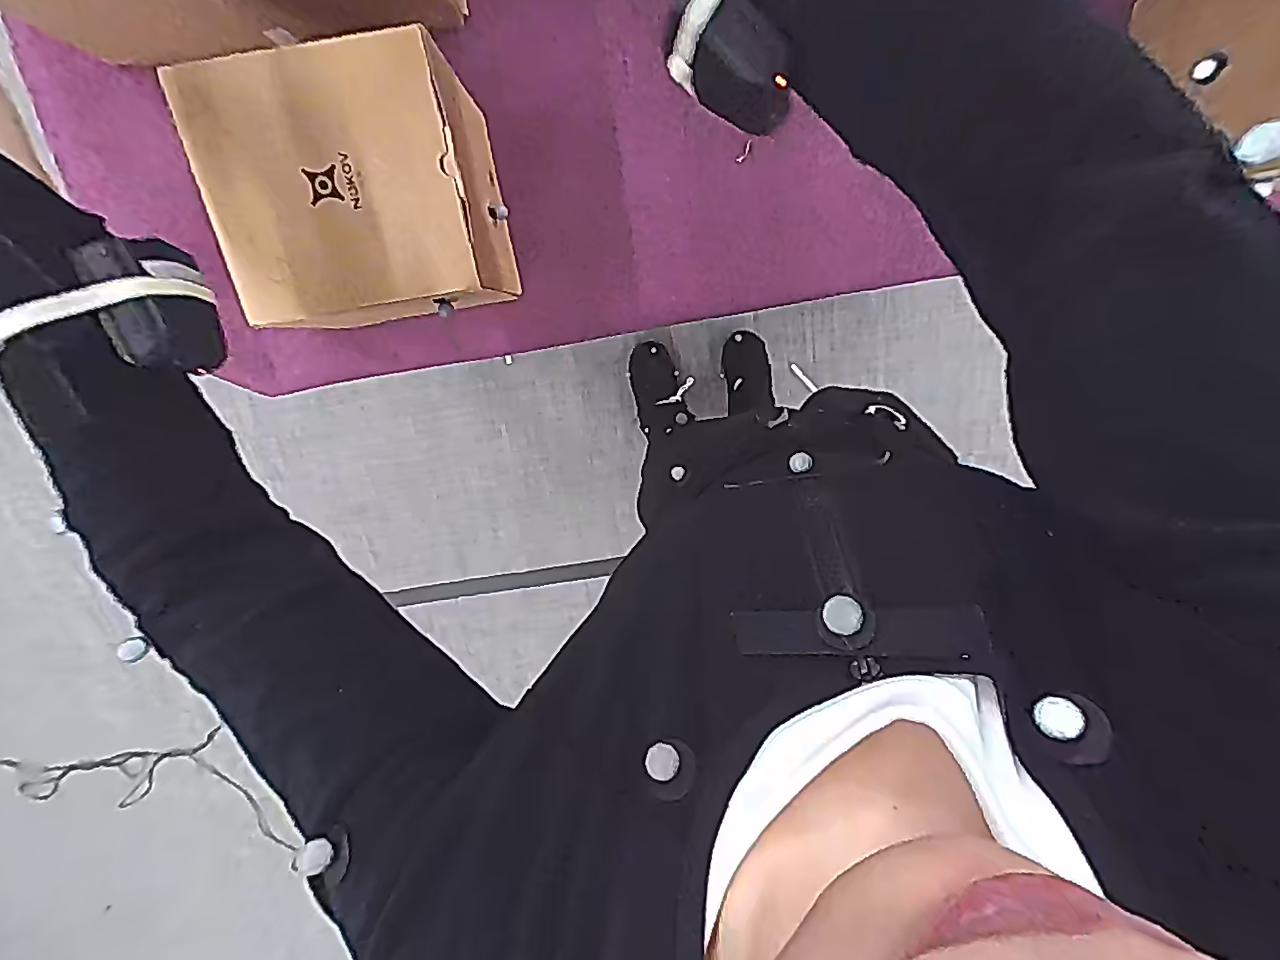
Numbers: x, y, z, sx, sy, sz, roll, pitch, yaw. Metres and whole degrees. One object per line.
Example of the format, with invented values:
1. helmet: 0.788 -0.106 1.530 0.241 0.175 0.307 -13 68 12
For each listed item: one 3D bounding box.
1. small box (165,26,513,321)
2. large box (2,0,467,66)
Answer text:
1. small box: -0.222 -0.231 0.457 0.179 0.176 0.168 -10 107 -1
2. large box: -0.319 -0.526 0.282 0.320 0.320 0.408 -9 110 -1
